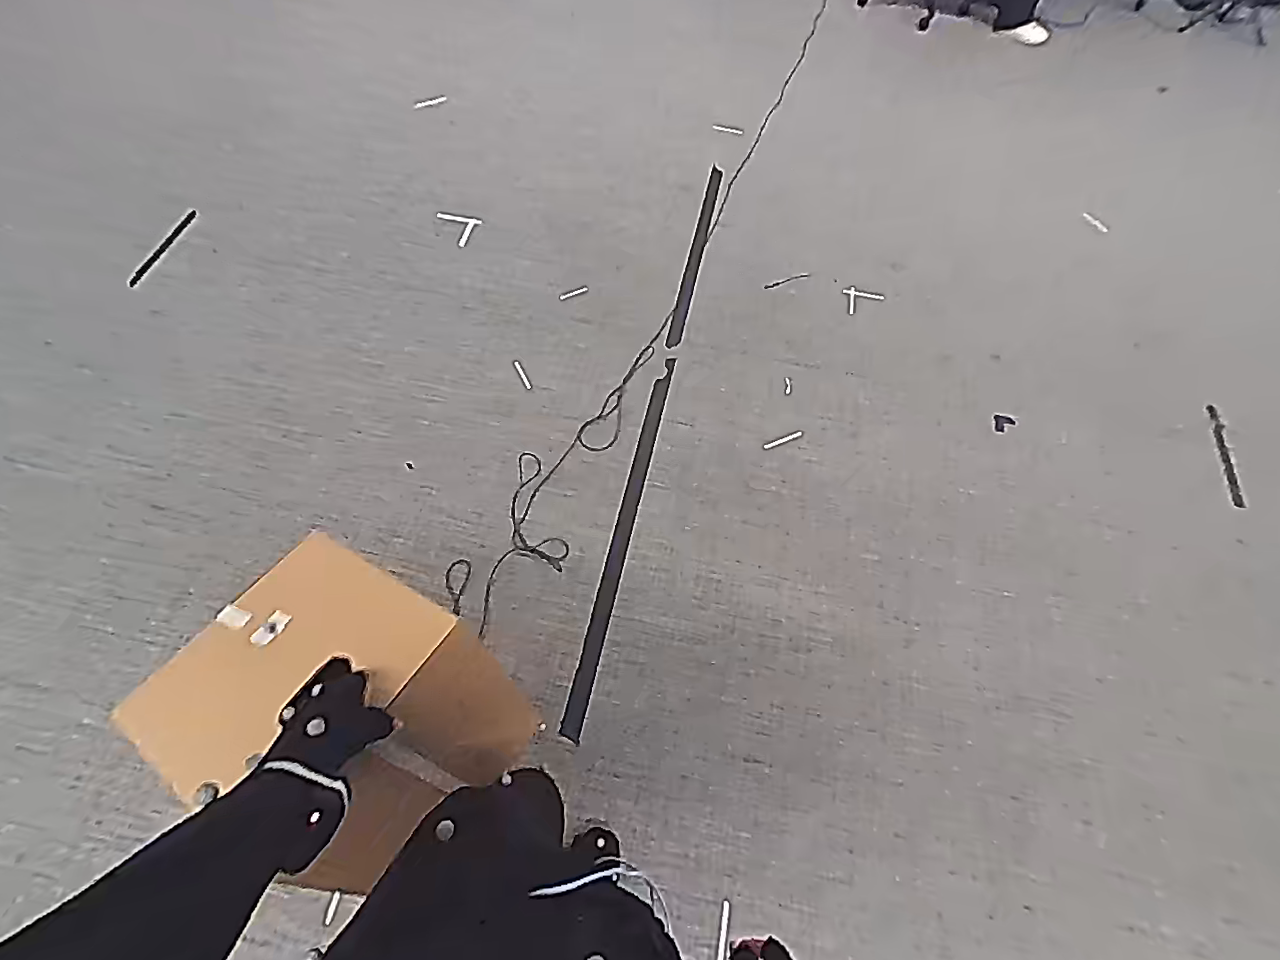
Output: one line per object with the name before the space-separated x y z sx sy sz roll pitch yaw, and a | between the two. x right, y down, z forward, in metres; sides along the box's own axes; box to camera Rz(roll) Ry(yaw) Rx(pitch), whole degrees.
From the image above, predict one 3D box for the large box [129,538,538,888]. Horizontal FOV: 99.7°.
large box | -0.415 0.358 0.831 0.320 0.408 0.320 24 57 25
